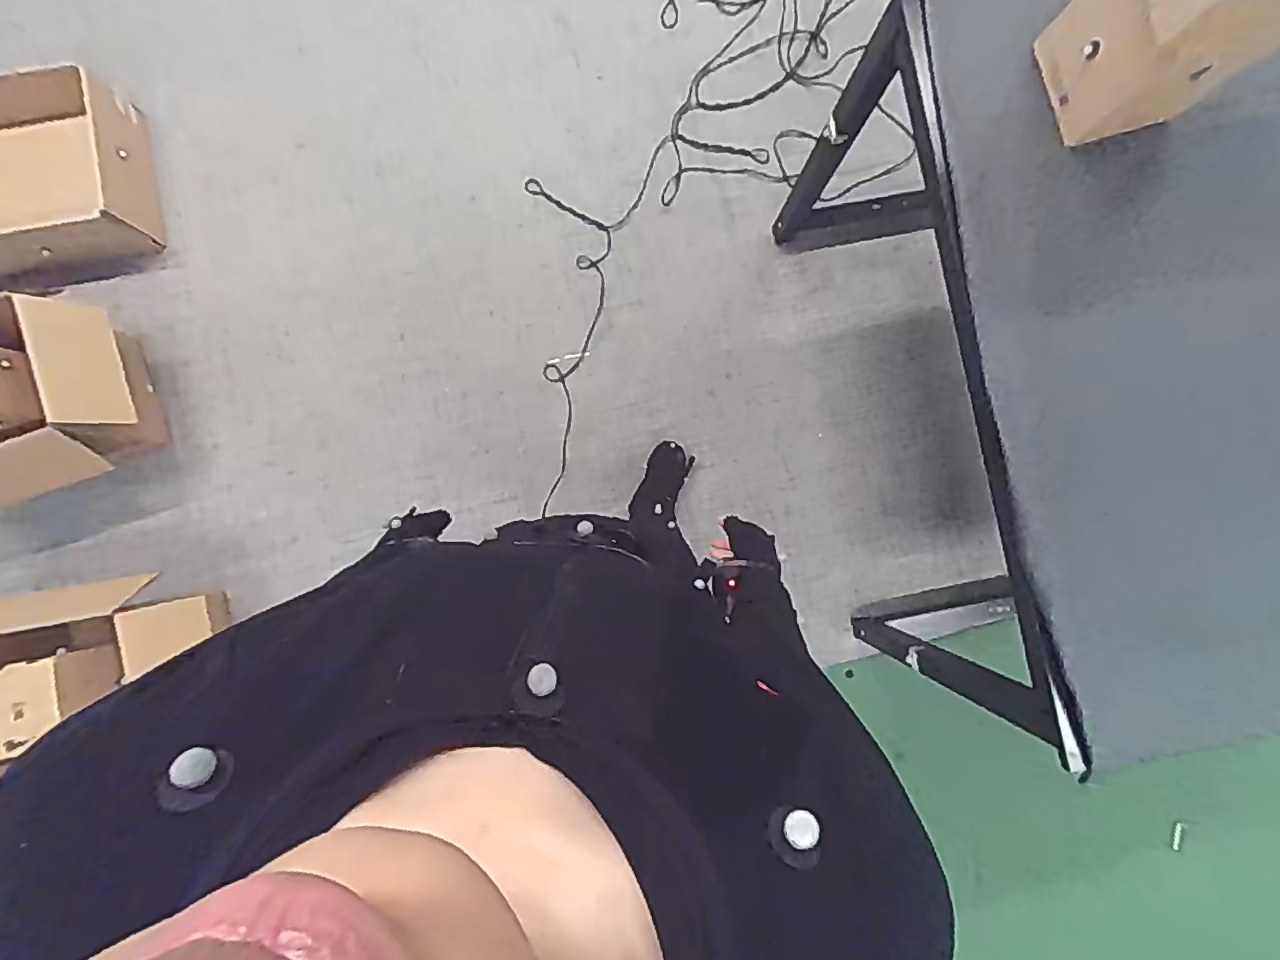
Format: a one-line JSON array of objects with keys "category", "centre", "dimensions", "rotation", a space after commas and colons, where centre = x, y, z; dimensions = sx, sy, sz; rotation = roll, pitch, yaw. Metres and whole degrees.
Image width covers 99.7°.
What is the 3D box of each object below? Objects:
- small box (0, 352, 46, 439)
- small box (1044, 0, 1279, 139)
[{"category": "small box", "centre": [-1.466, -0.187, 1.177], "dimensions": [0.179, 0.176, 0.168], "rotation": [-19, 87, -4]}, {"category": "small box", "centre": [0.688, -0.597, 0.723], "dimensions": [0.179, 0.176, 0.168], "rotation": [-16, 89, -3]}]
